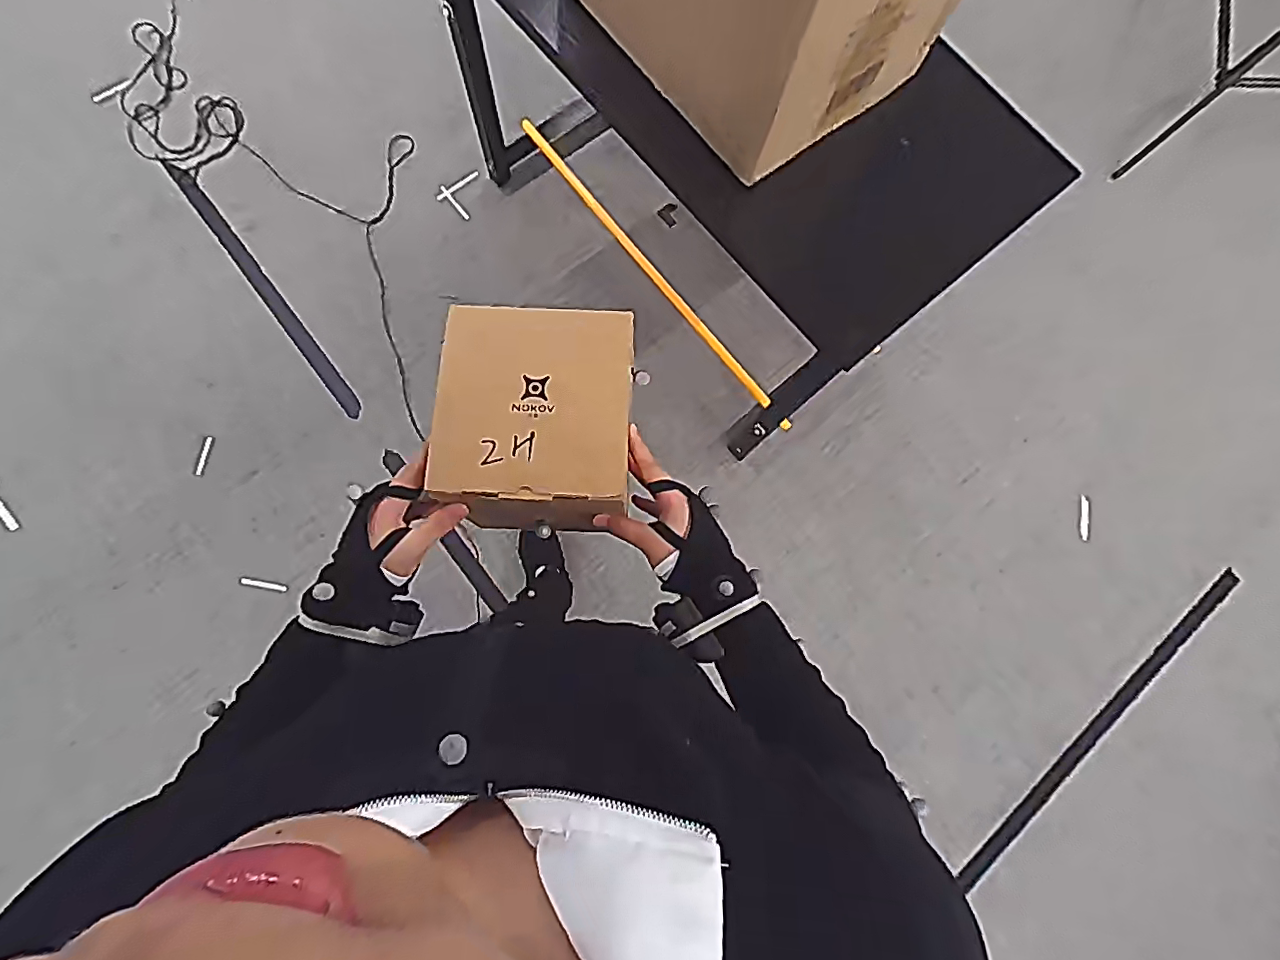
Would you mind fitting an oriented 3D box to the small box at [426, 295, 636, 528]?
[{"bbox_3d":[-0.091,-0.057,0.536,0.168,0.176,0.179,2,75,0],"label":"small box"}]
